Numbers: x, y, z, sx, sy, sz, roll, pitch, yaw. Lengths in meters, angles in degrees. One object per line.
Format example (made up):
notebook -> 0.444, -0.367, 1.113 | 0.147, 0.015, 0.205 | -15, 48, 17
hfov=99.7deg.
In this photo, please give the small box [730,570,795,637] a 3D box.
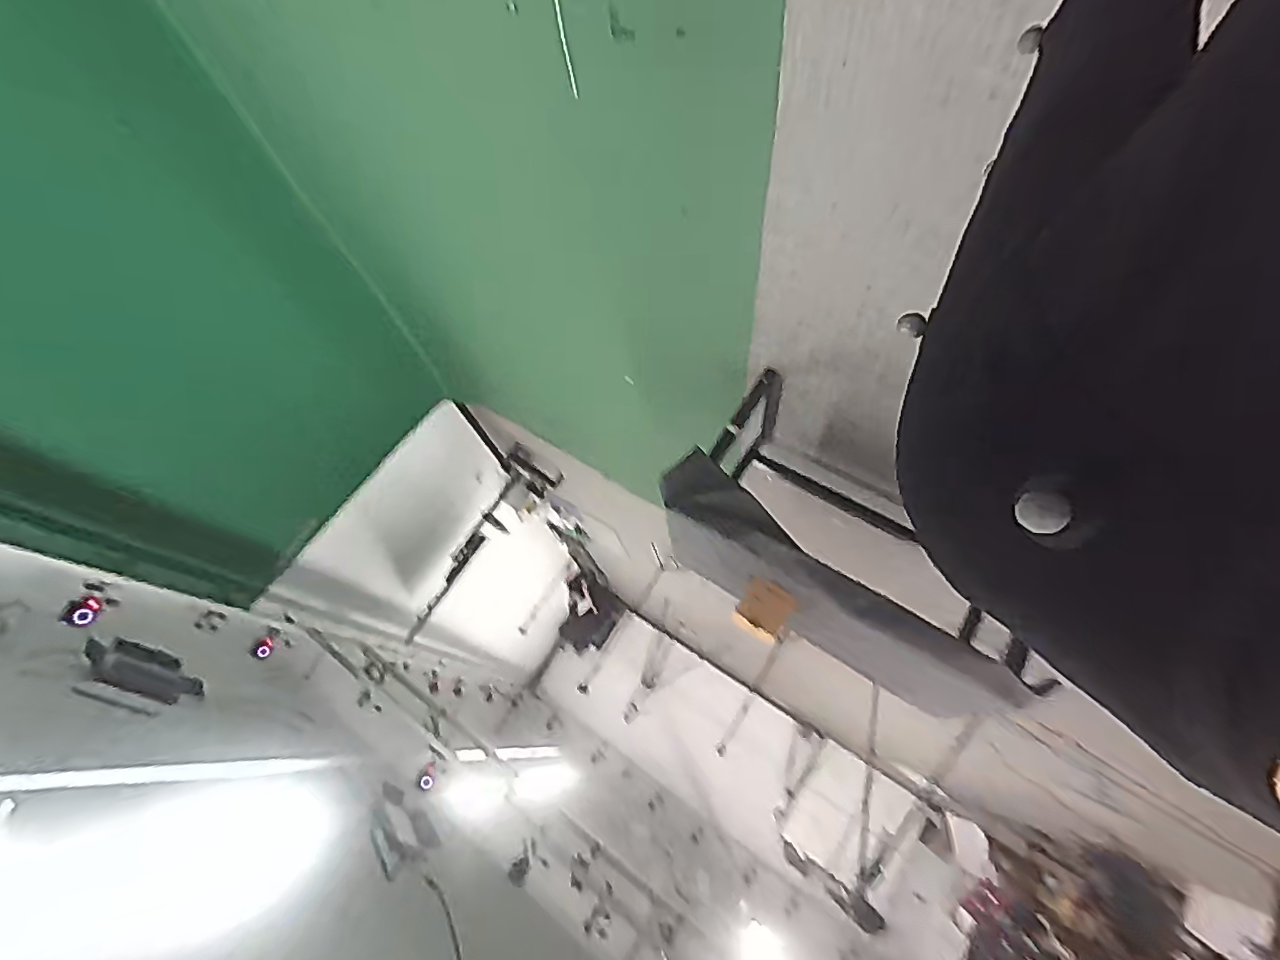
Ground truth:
small box -> 0.446, 0.448, 1.973 | 0.168, 0.176, 0.179 | 32, 164, 17
